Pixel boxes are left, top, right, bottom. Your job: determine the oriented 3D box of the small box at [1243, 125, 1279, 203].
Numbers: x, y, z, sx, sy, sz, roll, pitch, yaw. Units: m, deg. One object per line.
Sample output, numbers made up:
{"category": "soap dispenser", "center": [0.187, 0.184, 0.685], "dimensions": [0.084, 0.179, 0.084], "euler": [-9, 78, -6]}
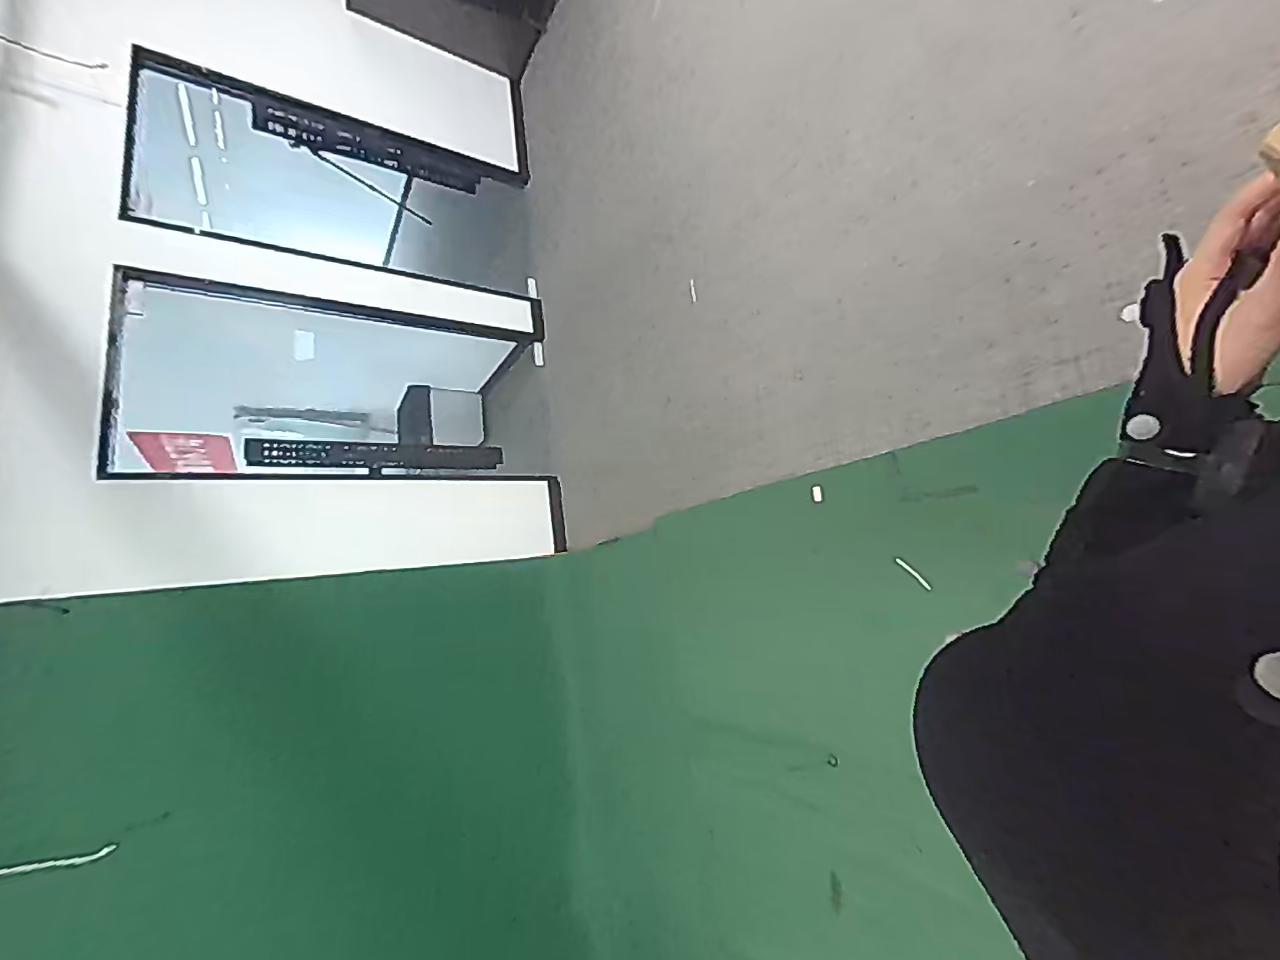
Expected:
{"category": "small box", "center": [0.417, -0.139, 0.203], "dimensions": [0.179, 0.176, 0.168], "euler": [-54, 48, 44]}
